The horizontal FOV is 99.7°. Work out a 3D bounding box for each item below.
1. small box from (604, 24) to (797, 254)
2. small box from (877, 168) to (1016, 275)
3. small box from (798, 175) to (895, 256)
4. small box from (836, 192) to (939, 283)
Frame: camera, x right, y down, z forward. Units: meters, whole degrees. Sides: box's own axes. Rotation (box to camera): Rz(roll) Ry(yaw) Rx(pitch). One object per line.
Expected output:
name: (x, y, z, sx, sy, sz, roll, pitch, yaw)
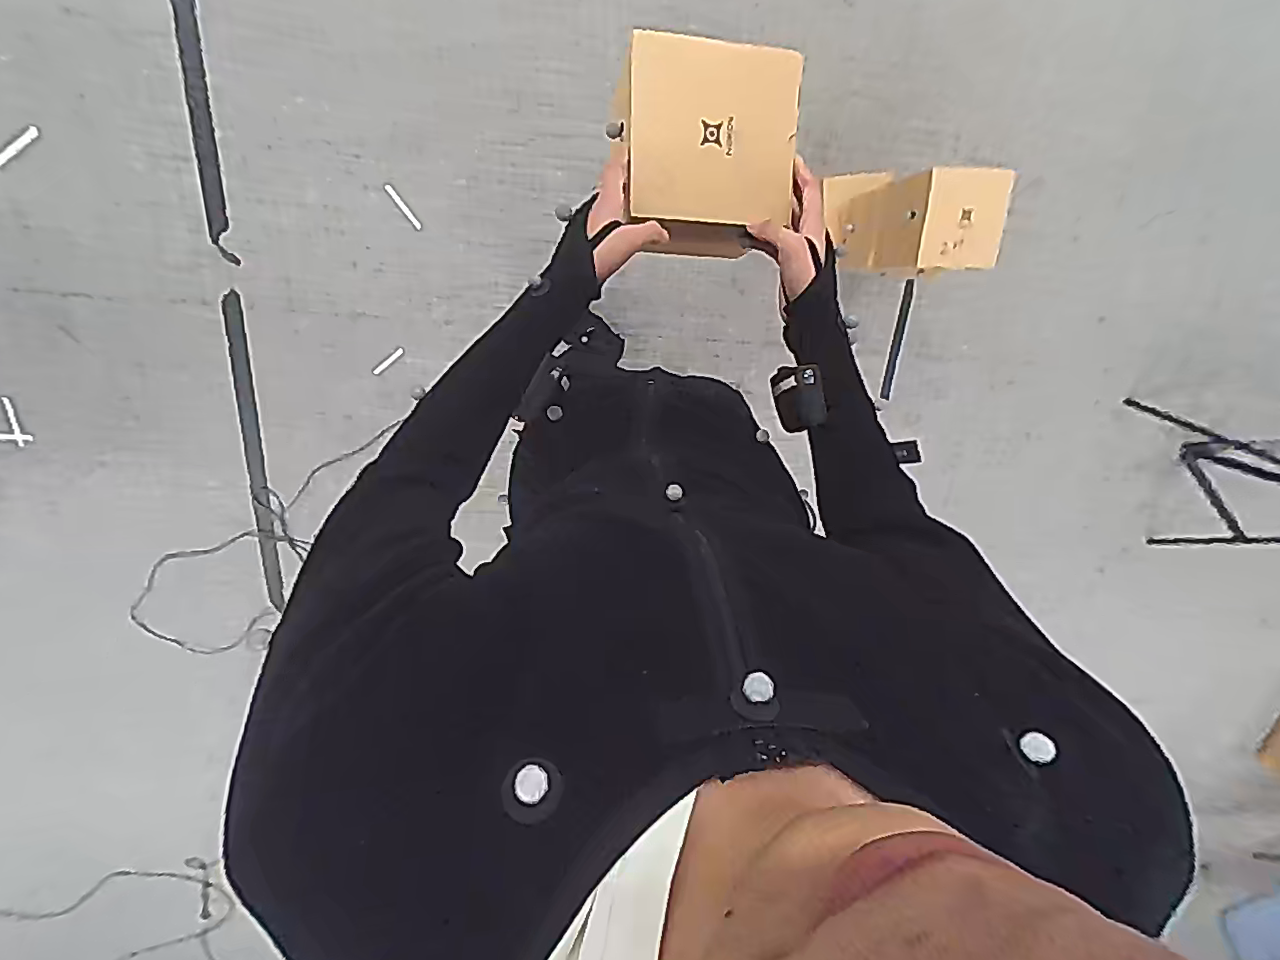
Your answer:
small box: (0.053, -0.356, 0.601, 0.179, 0.176, 0.168, -2, 102, -10)
small box: (0.606, -0.514, 1.094, 0.168, 0.176, 0.179, -1, 110, -6)
small box: (0.520, -0.668, 1.378, 0.179, 0.176, 0.168, -7, 111, -3)
small box: (0.589, -0.558, 1.252, 0.179, 0.176, 0.168, 7, 109, -8)
